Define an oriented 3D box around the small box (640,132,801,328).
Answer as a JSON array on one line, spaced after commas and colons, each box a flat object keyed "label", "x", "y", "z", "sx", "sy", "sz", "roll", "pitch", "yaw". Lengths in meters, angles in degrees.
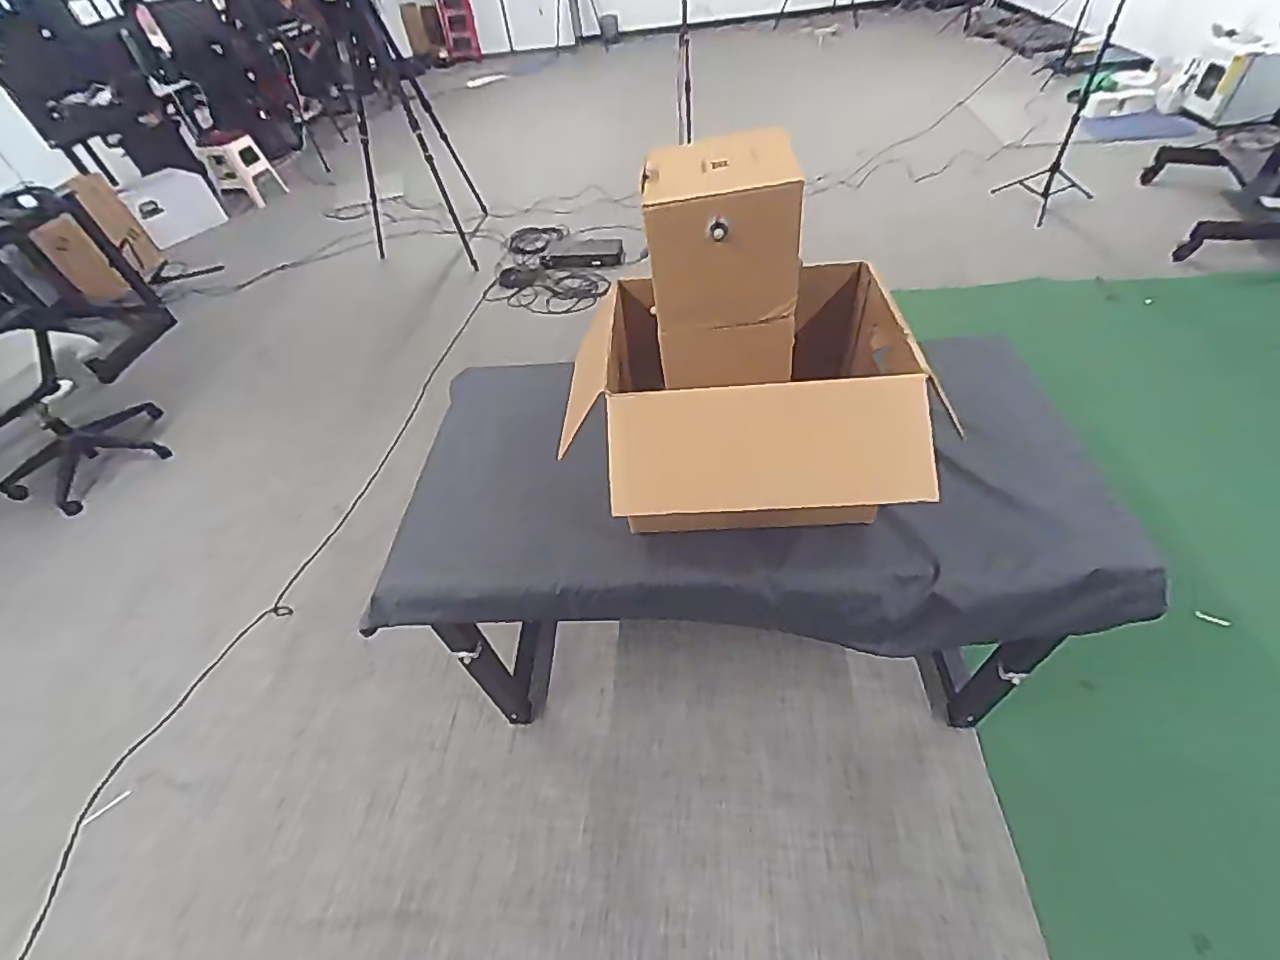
[{"label": "small box", "x": 0.099, "y": -0.312, "z": 0.691, "sx": 0.179, "sy": 0.176, "sz": 0.168, "roll": -5, "pitch": 49, "yaw": 6}]
